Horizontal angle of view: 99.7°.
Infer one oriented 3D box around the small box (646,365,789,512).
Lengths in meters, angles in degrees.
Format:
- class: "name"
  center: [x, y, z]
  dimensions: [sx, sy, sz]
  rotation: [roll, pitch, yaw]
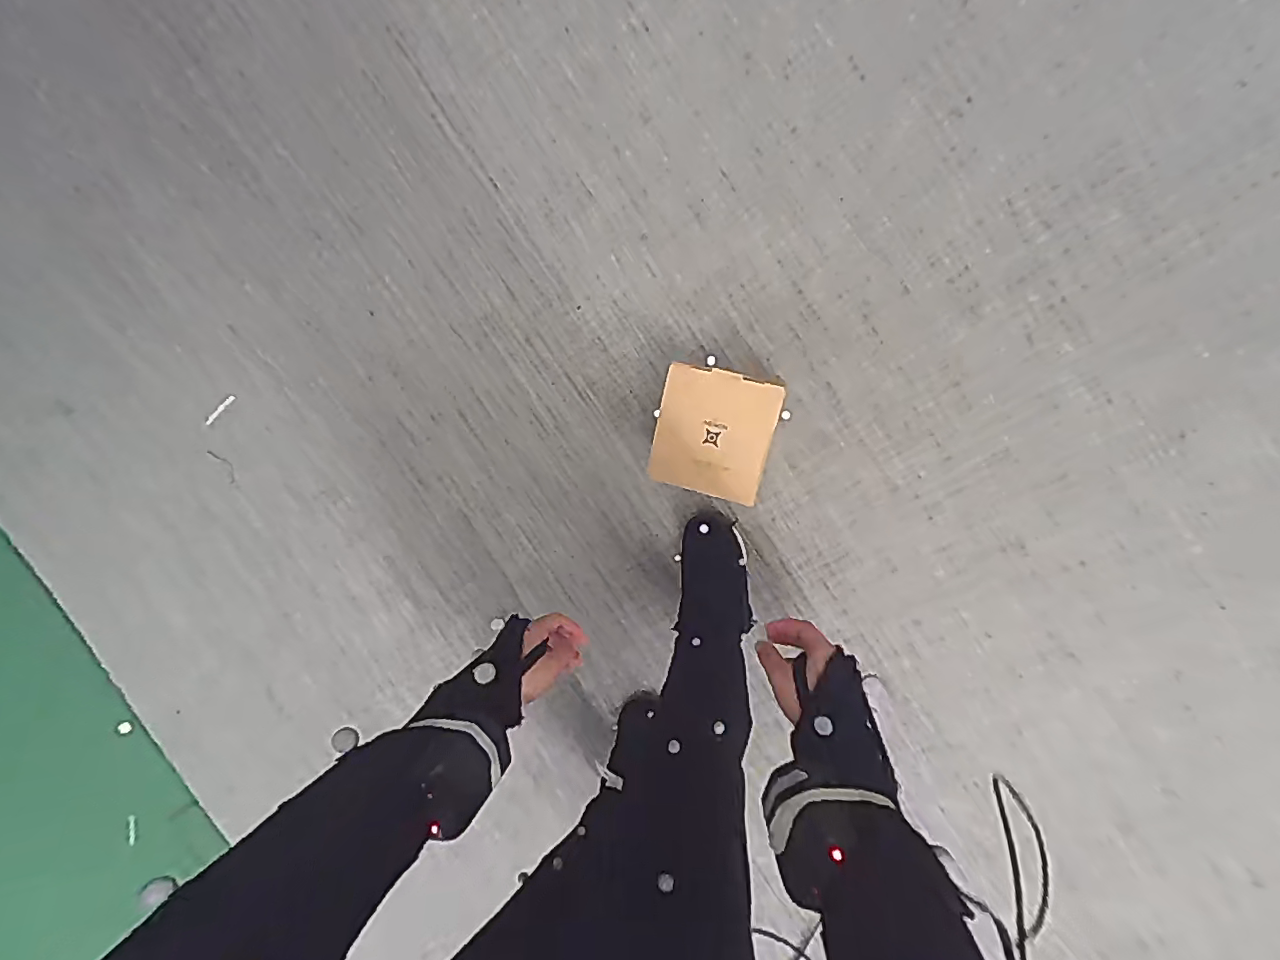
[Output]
- class: "small box"
  center: [0.122, -0.074, 0.825]
  dimensions: [0.168, 0.176, 0.179]
  rotation: [15, 106, 12]
